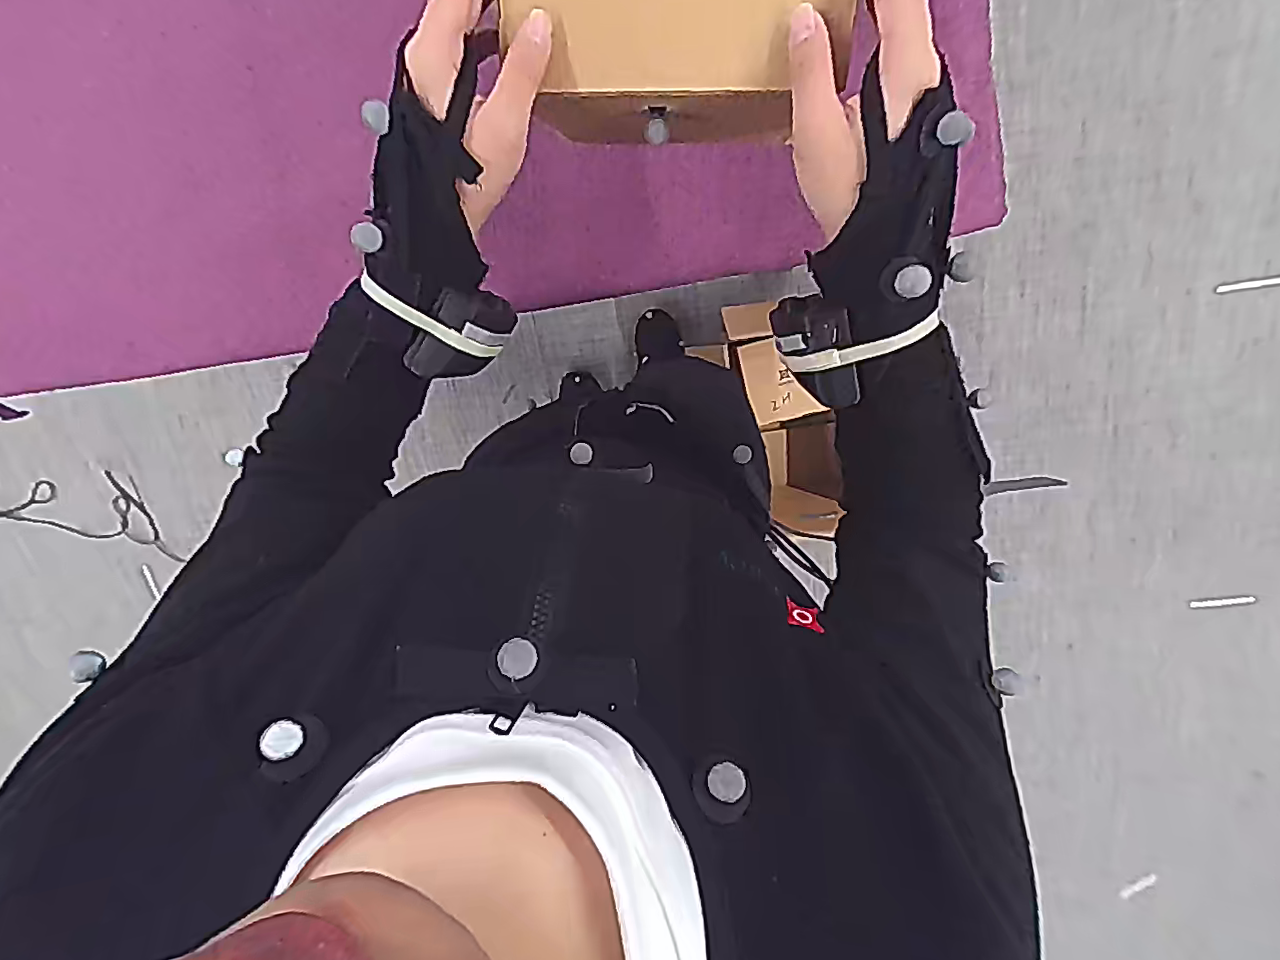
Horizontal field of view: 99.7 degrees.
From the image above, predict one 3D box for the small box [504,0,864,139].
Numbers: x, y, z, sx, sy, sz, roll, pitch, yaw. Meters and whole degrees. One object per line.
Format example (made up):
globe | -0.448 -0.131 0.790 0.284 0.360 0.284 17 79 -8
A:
small box | 0.028 -0.305 0.310 0.179 0.176 0.168 4 115 6
